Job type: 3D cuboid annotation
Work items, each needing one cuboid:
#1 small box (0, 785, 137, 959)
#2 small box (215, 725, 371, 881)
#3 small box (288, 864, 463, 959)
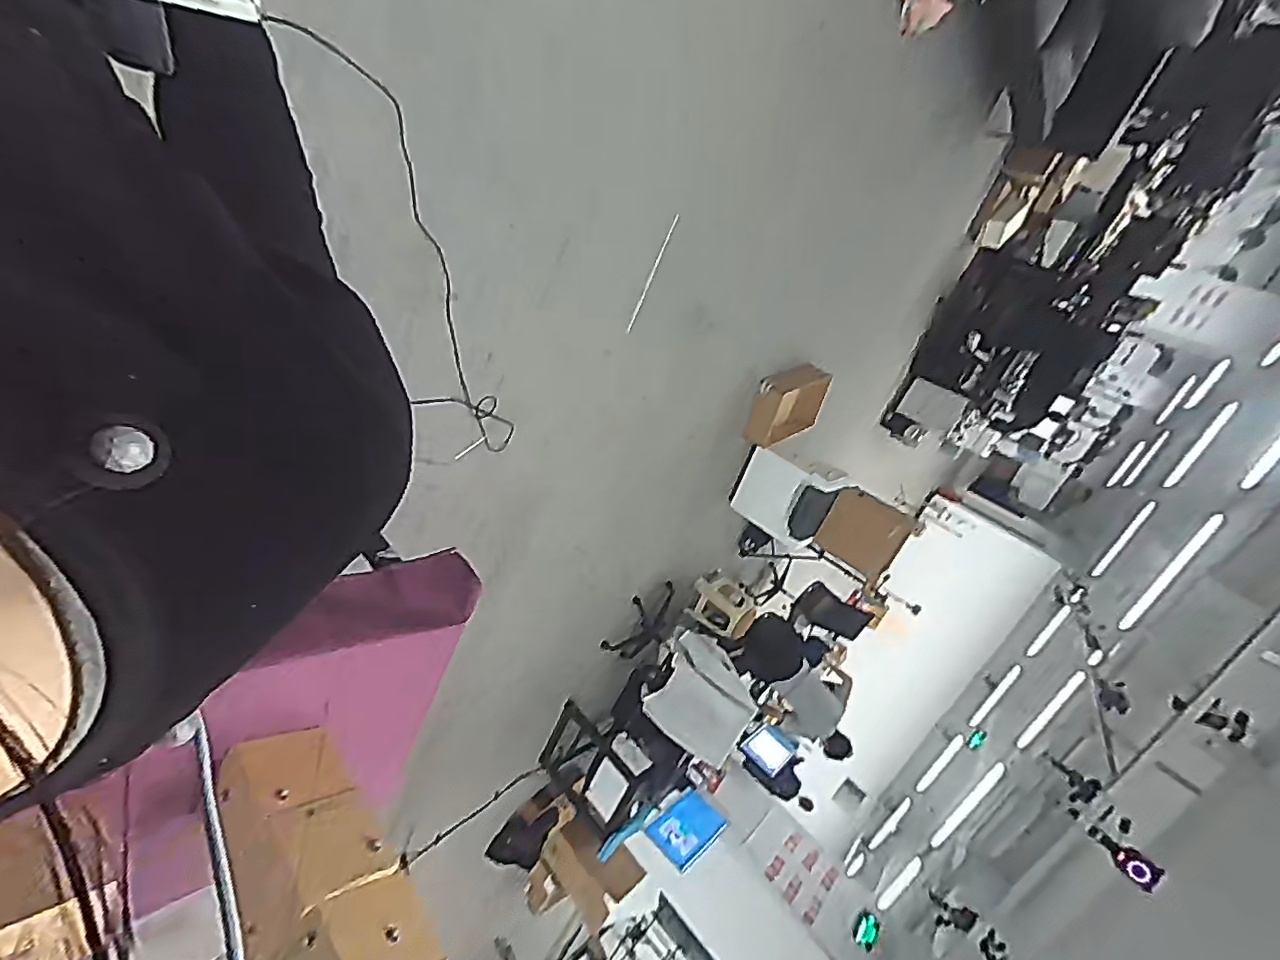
[{"bbox_3d":[-0.852,0.577,0.757,0.179,0.176,0.168,4,118,-54],"label":"small box"},{"bbox_3d":[-0.660,0.596,1.029,0.179,0.176,0.168,20,104,-57],"label":"small box"},{"bbox_3d":[-0.433,0.775,0.871,0.168,0.176,0.179,-54,149,2],"label":"small box"}]
